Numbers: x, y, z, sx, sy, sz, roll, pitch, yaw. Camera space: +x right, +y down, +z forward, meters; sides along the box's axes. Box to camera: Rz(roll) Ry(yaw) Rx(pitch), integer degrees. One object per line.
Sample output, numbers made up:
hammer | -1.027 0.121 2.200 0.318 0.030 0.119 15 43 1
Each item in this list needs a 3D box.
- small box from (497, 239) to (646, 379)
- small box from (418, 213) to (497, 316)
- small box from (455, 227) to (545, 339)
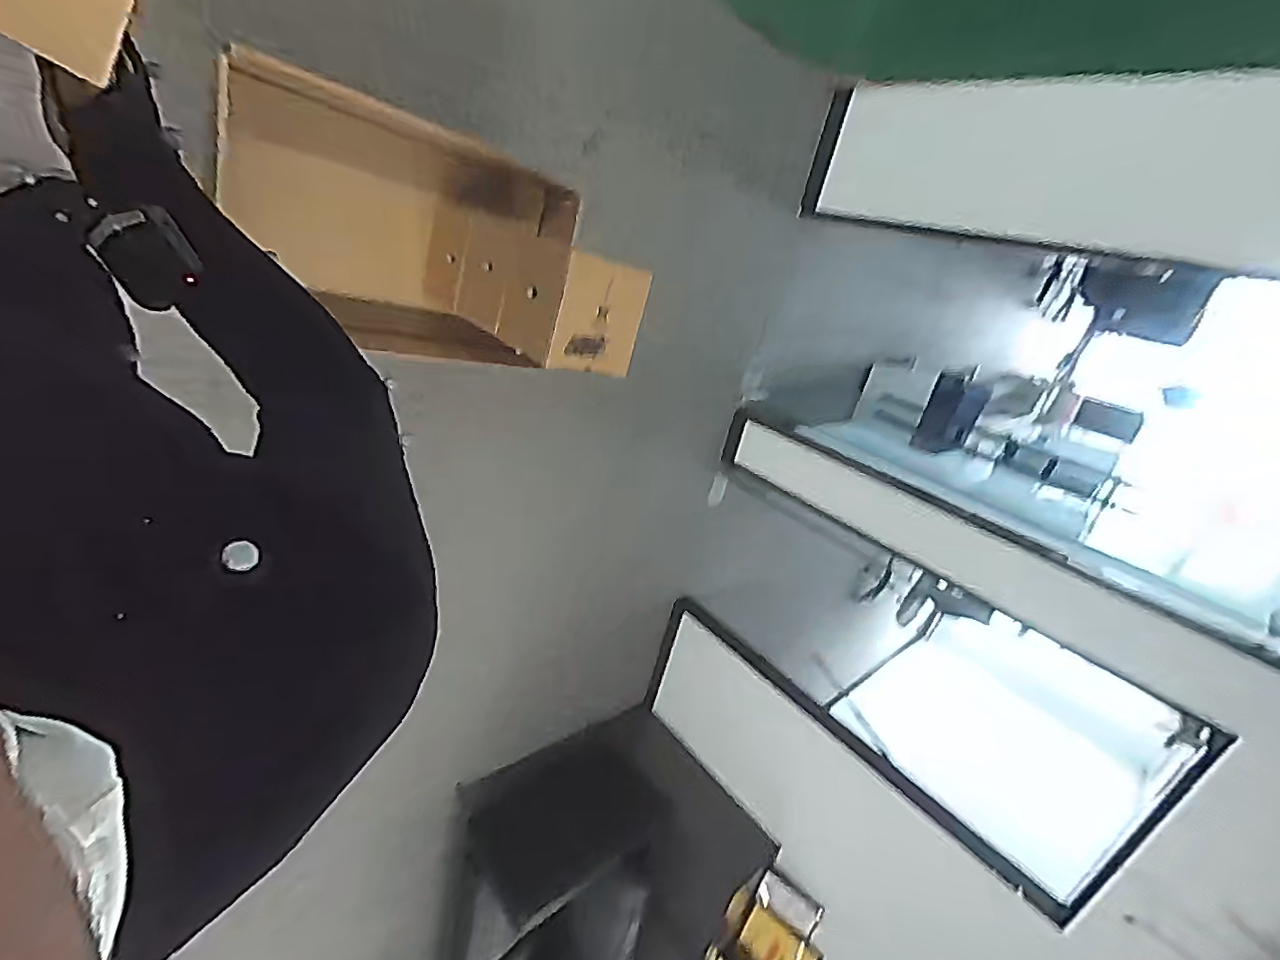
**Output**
small box | -0.123 -0.288 0.917 0.168 0.176 0.179 -2 117 -45
small box | -0.338 -0.431 1.120 0.168 0.176 0.179 0 116 -46
small box | -0.230 -0.360 1.020 0.168 0.176 0.179 -1 115 -45
